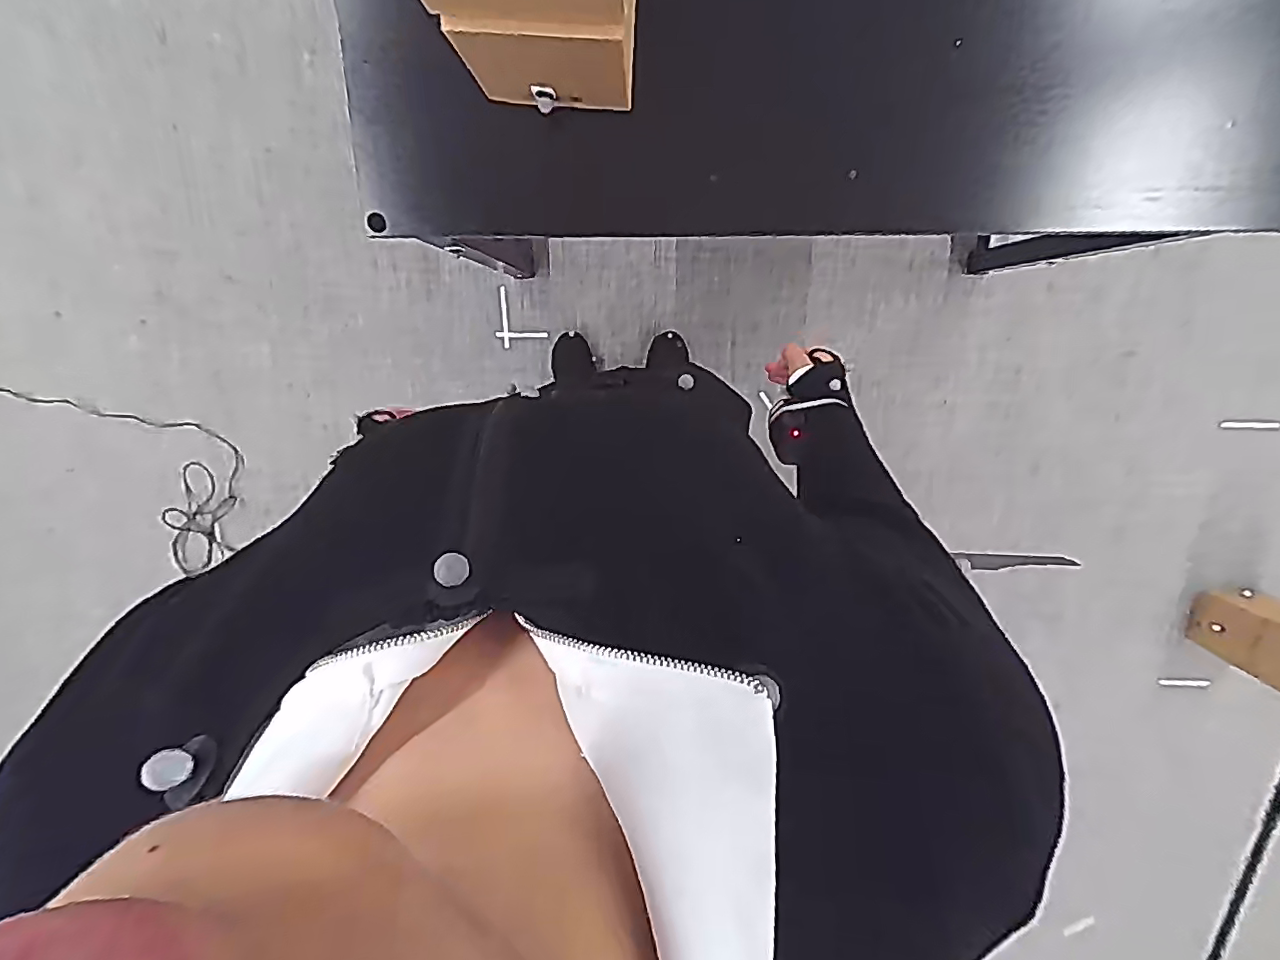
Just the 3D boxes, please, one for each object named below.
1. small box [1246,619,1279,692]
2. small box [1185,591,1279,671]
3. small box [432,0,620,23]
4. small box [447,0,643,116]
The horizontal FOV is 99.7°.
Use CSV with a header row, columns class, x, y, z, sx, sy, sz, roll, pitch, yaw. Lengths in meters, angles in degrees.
class,x,y,z,sx,sy,sz,roll,pitch,yaw
small box,1.714,0.466,1.363,0.168,0.176,0.179,1,107,1
small box,1.715,0.424,1.524,0.179,0.176,0.168,2,106,1
small box,-0.090,-0.459,0.375,0.179,0.176,0.168,3,105,1
small box,-0.083,-0.496,0.536,0.168,0.176,0.179,3,106,1
